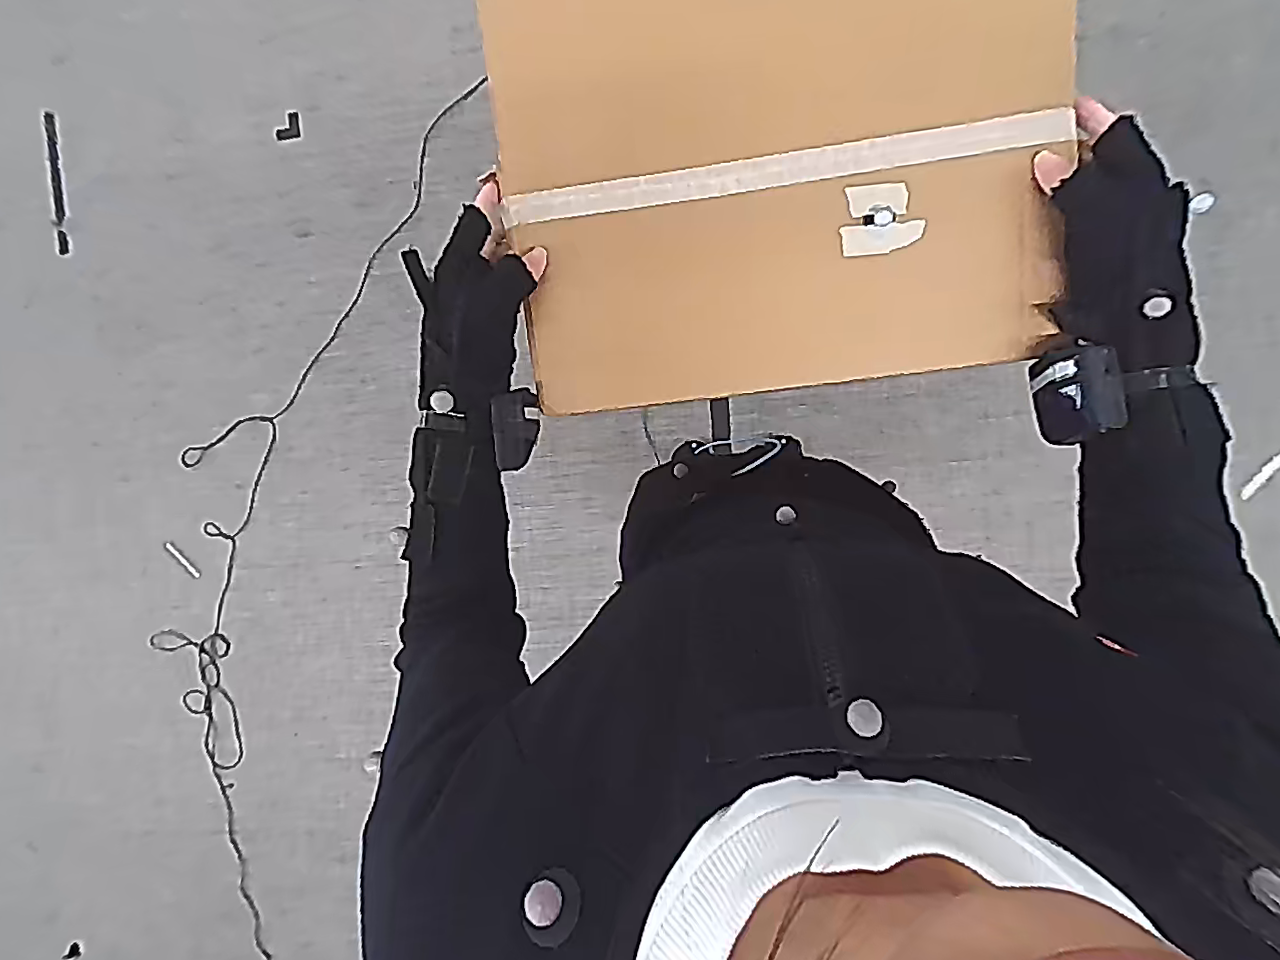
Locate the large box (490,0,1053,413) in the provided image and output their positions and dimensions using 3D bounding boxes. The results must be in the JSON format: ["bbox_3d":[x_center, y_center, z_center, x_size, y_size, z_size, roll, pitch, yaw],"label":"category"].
[{"bbox_3d":[0.109,-0.254,0.555,0.408,0.320,0.320,-6,100,4],"label":"large box"}]
